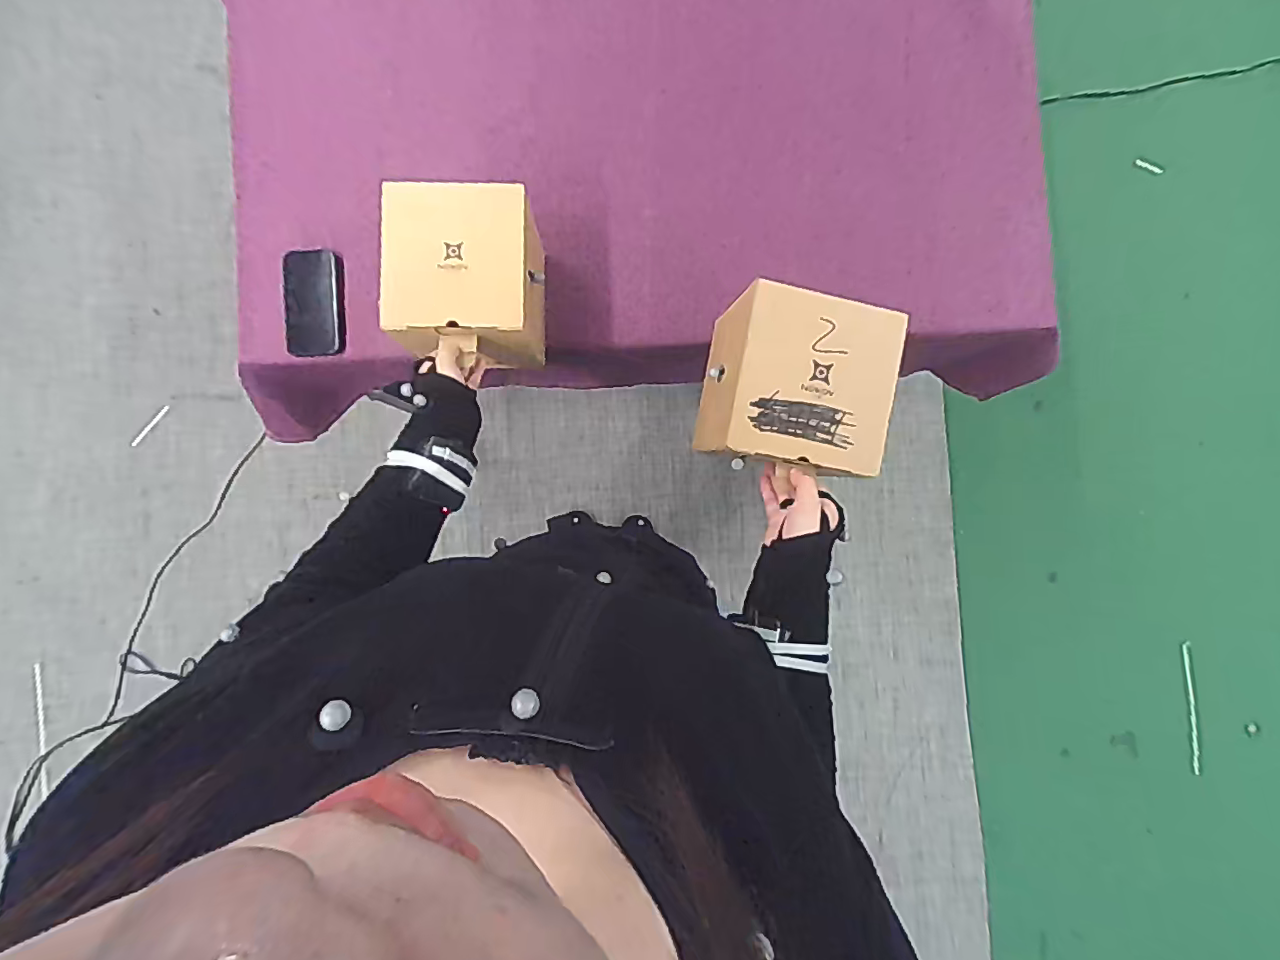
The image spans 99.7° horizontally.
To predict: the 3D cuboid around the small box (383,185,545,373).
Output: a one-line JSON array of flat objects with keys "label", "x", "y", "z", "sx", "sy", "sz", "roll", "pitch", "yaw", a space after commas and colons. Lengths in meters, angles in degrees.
[{"label": "small box", "x": -0.217, "y": -0.250, "z": 0.707, "sx": 0.168, "sy": 0.176, "sz": 0.179, "roll": 0, "pitch": 87, "yaw": -3}]
